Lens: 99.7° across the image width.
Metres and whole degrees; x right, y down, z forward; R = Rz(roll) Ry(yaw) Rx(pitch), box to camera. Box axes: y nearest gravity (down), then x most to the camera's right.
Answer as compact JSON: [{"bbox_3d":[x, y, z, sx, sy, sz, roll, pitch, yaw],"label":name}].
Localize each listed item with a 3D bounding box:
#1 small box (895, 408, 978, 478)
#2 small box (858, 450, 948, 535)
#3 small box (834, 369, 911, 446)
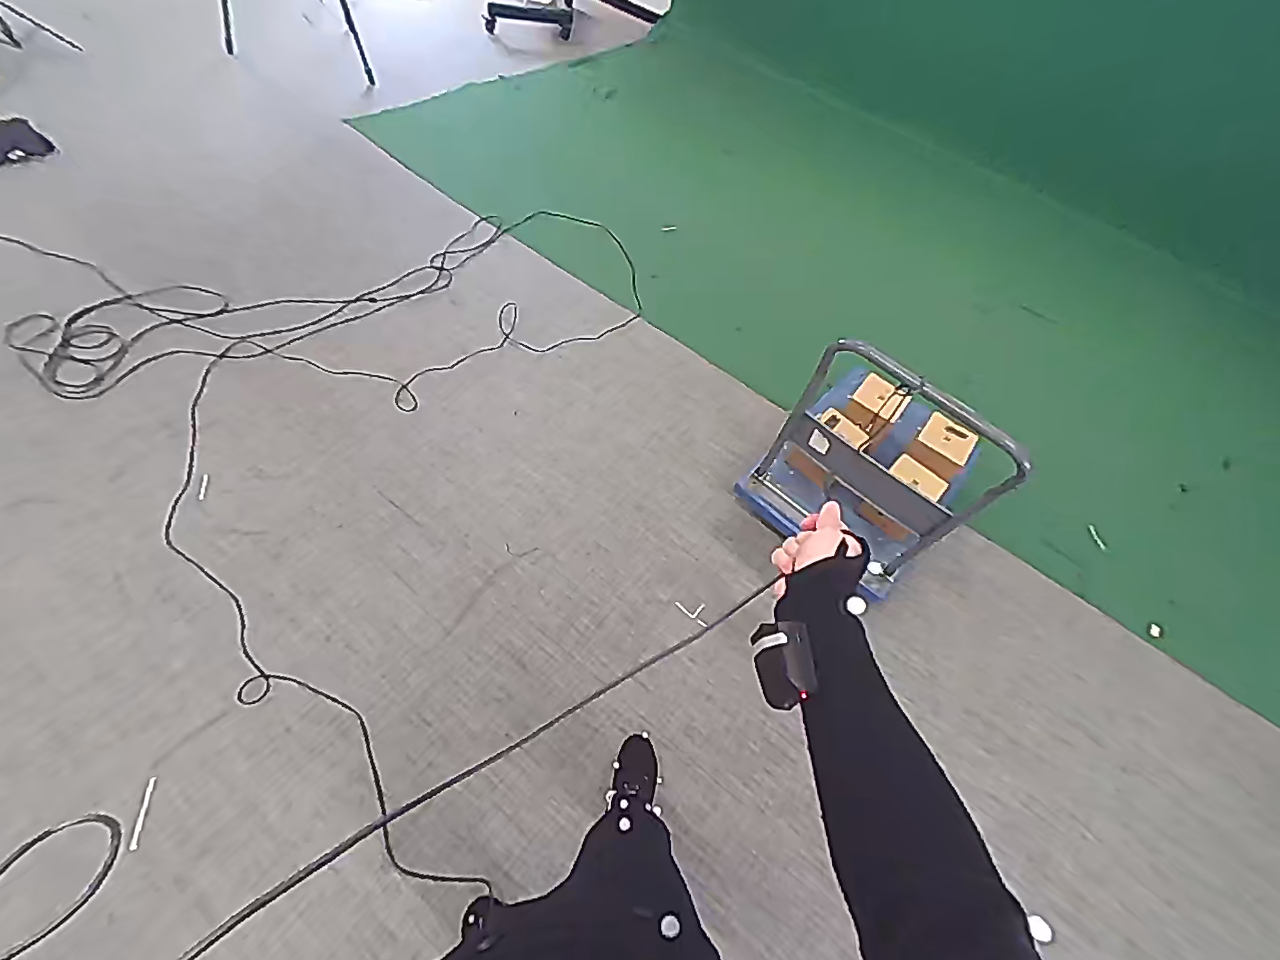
[{"bbox_3d":[1.020,-0.110,1.874,0.168,0.176,0.179,36,59,15],"label":"small box"},{"bbox_3d":[0.840,0.043,1.743,0.168,0.176,0.179,41,60,17],"label":"small box"},{"bbox_3d":[0.824,-0.255,1.938,0.168,0.176,0.179,37,58,14],"label":"small box"}]
